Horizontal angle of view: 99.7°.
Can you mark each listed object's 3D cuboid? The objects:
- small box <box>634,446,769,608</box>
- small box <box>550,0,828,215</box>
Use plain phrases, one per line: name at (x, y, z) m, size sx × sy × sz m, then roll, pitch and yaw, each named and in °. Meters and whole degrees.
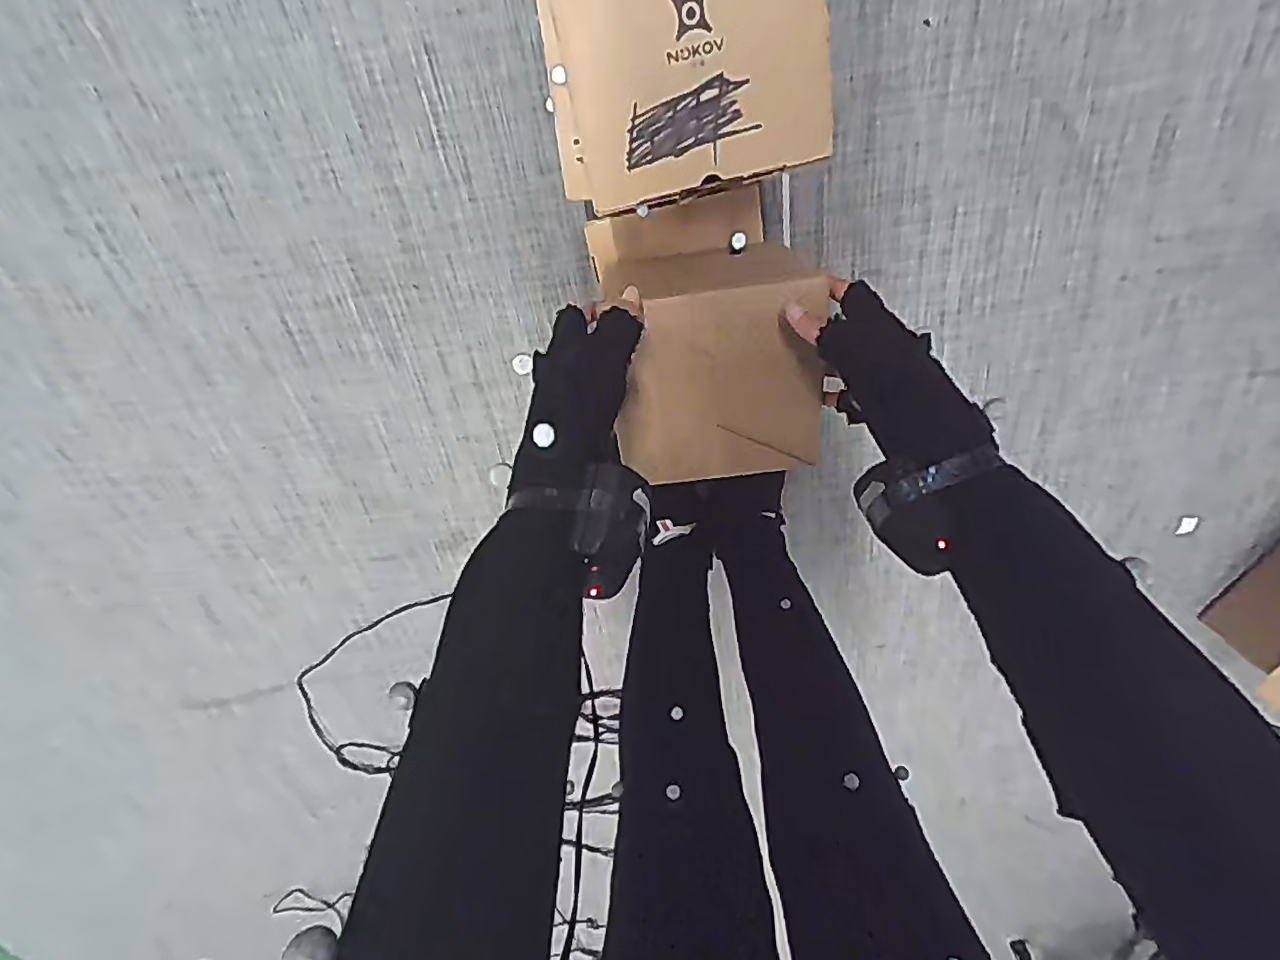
small box at (0.085, 0.068, 0.836) m, size 0.168 × 0.176 × 0.179 m, roll -7°, pitch 122°, yaw -7°
small box at (0.033, -0.312, 0.404) m, size 0.168 × 0.176 × 0.179 m, roll -10°, pitch 117°, yaw 5°
